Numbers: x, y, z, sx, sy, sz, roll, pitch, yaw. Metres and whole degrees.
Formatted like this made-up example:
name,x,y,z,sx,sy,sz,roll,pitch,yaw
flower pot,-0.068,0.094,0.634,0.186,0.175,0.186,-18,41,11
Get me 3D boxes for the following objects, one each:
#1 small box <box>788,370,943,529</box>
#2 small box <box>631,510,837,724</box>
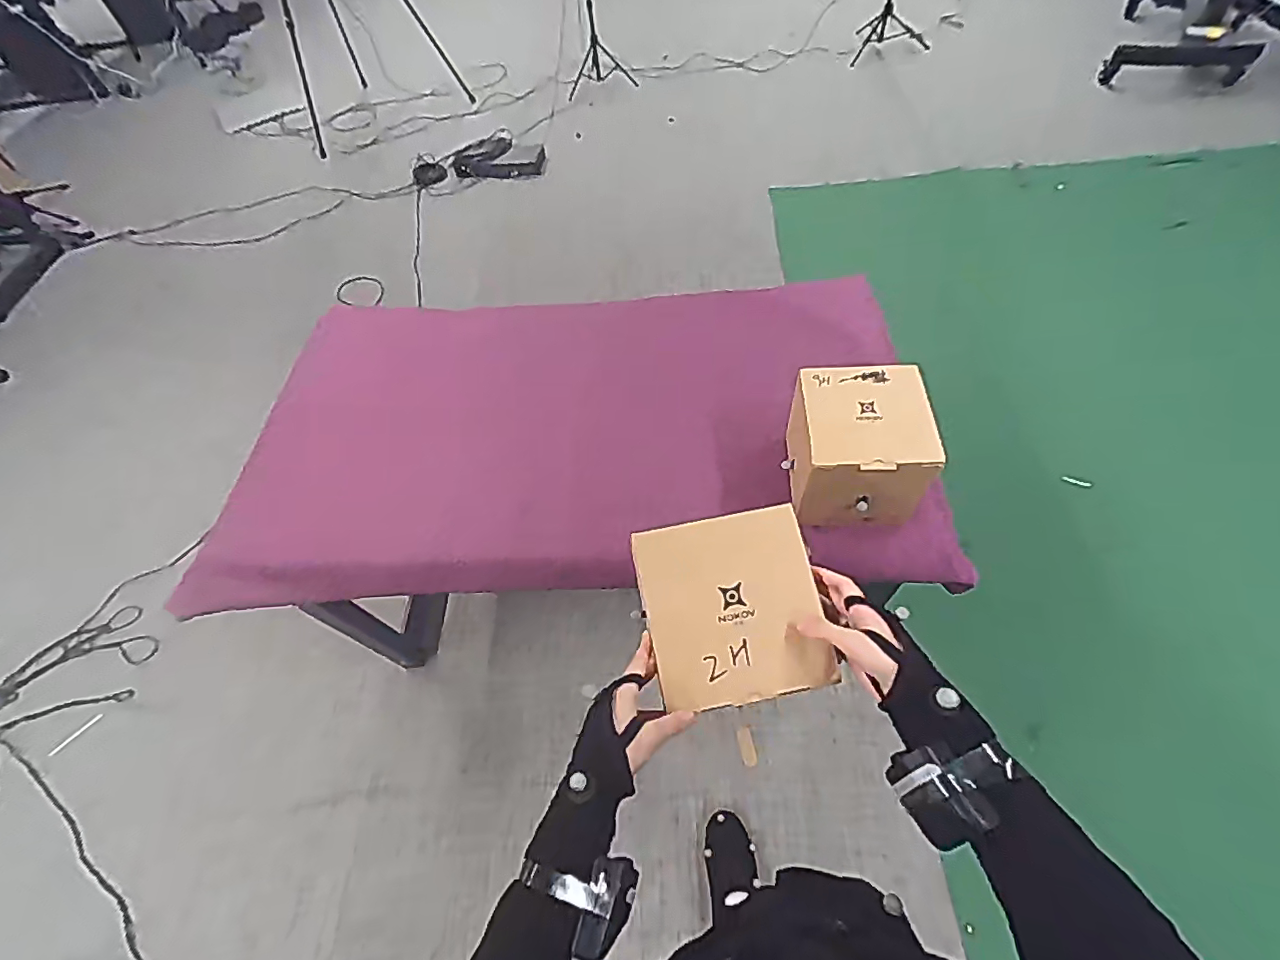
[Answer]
name,x,y,z,sx,sy,sz,roll,pitch,yaw
small box,0.315,-0.038,0.795,0.168,0.176,0.179,0,58,7
small box,0.085,0.147,0.587,0.168,0.176,0.179,-11,74,-1
